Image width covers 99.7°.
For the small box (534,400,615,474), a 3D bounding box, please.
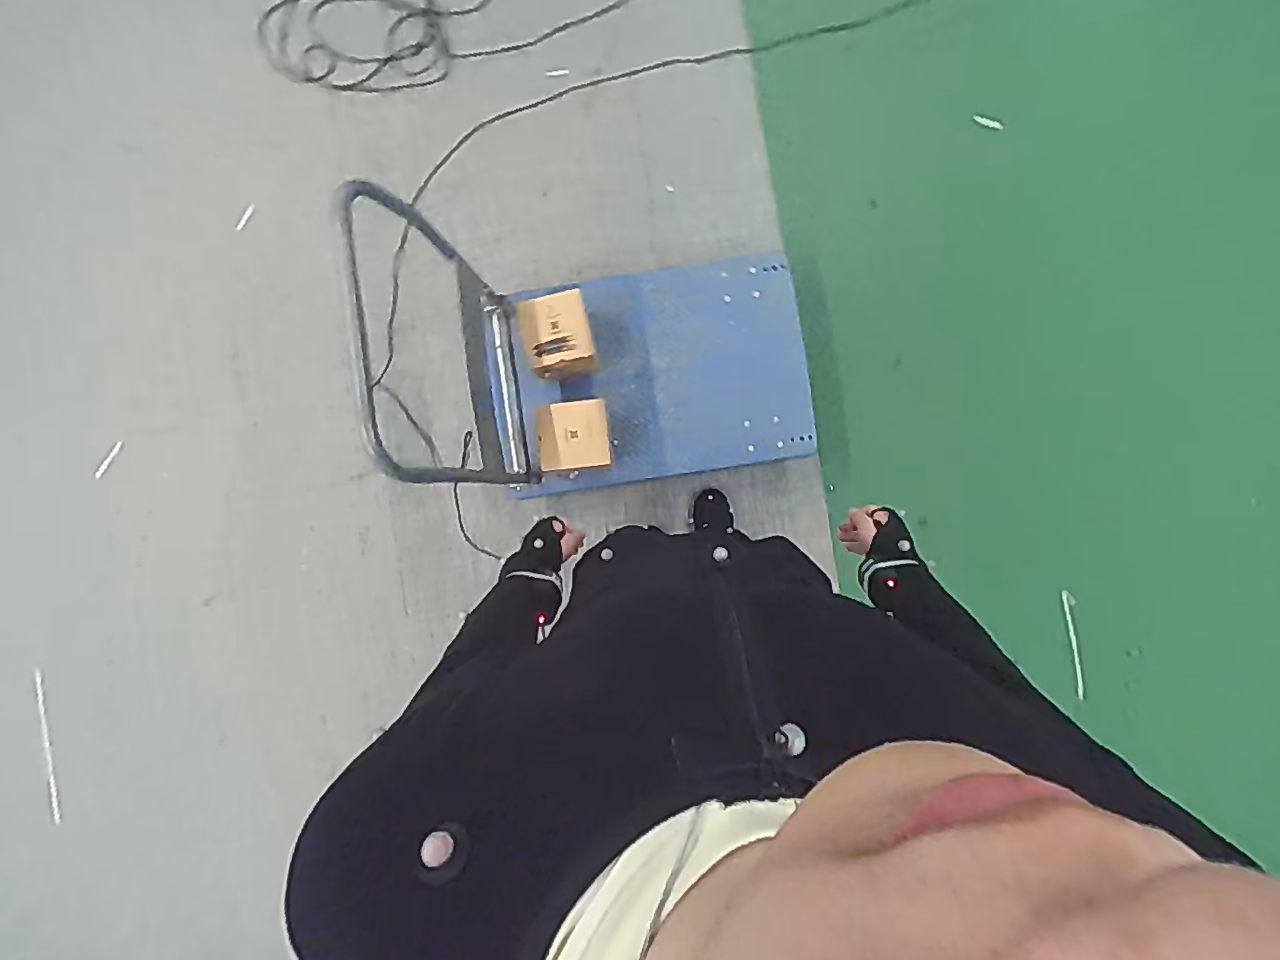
[{"bbox_3d":[-0.165,-0.106,1.408,0.179,0.176,0.168,-6,88,1],"label":"small box"}]
